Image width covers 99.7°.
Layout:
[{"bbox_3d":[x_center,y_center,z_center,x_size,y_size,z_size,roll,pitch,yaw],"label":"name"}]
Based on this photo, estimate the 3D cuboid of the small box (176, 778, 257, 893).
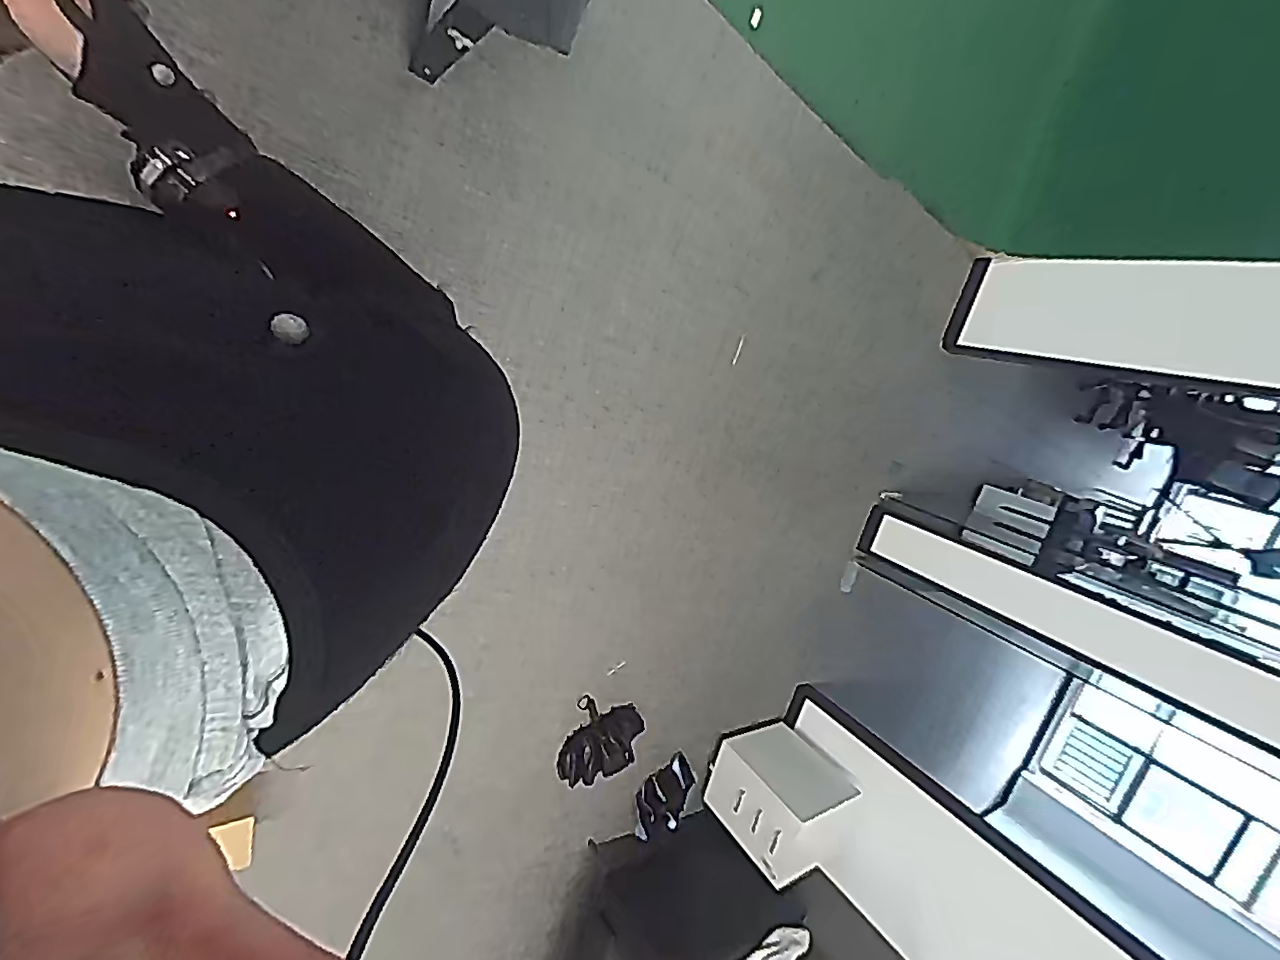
[{"bbox_3d":[-1.169,0.974,1.498,0.168,0.176,0.179,3,106,-38],"label":"small box"}]
